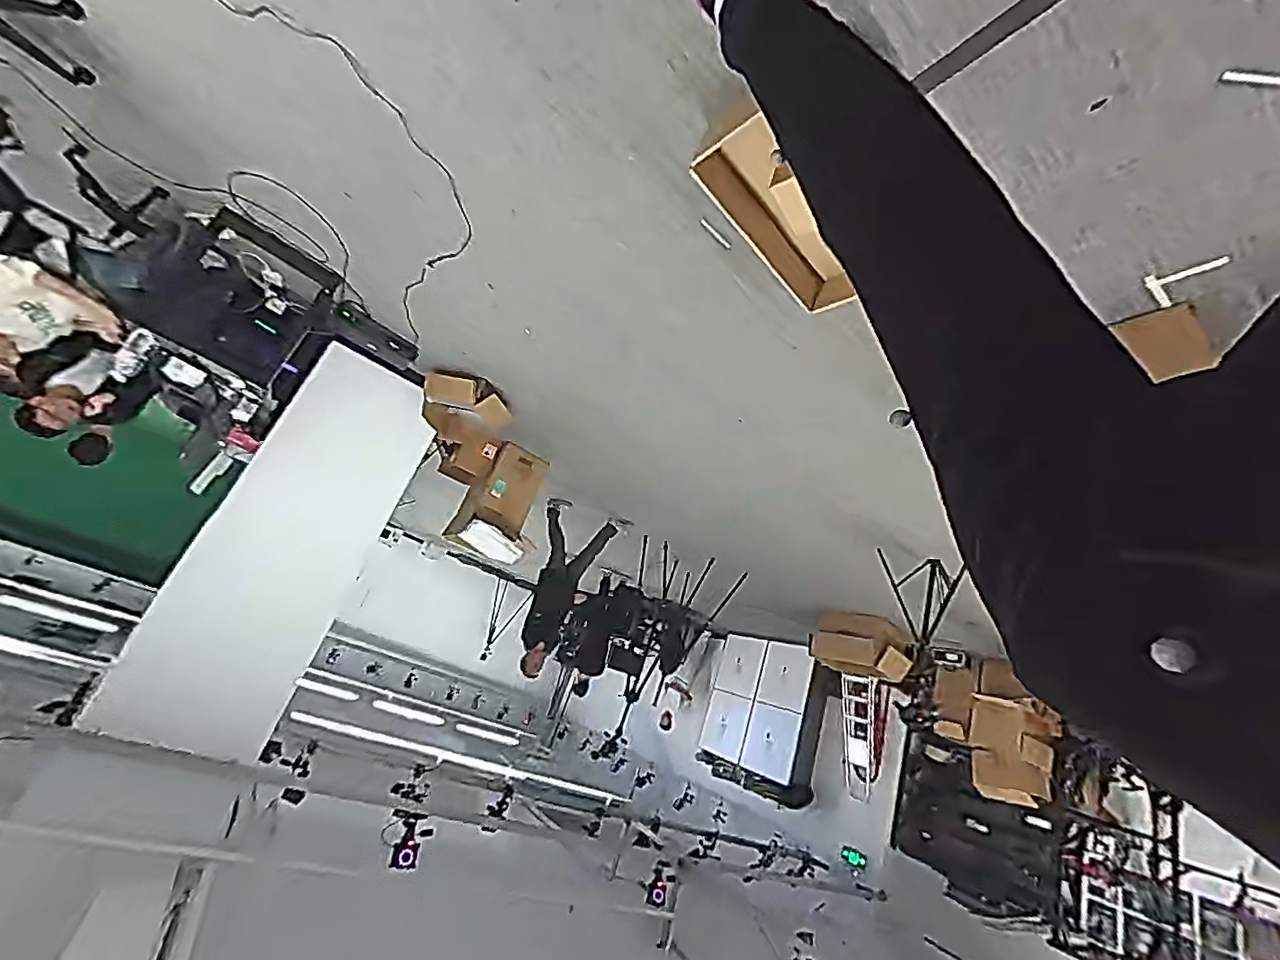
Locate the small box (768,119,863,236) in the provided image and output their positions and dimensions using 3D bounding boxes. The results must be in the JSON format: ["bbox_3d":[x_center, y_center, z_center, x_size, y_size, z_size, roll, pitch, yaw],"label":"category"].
[{"bbox_3d":[0.456,-0.770,1.381,0.179,0.176,0.168,-1,151,43],"label":"small box"}]
